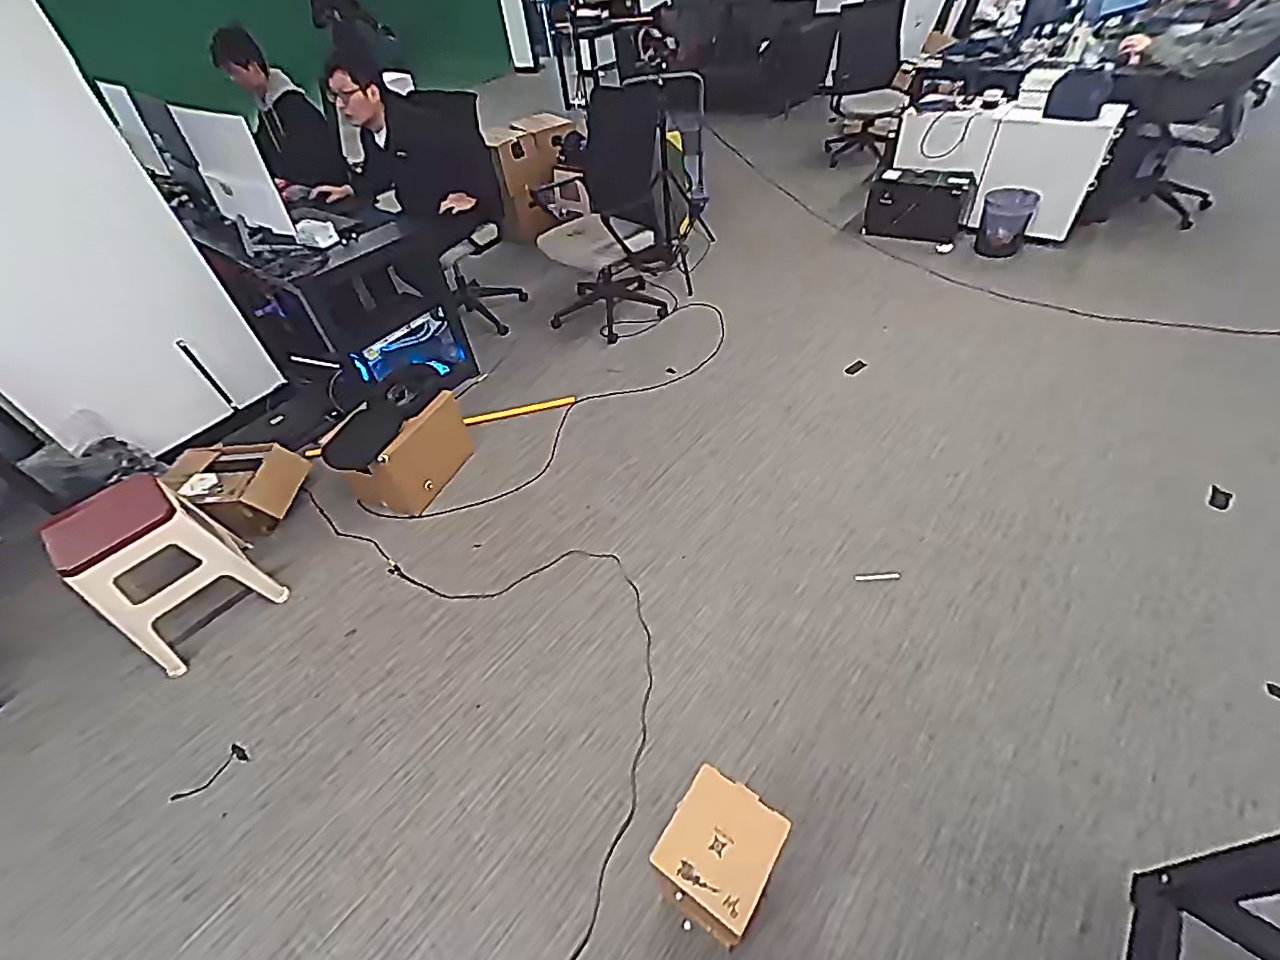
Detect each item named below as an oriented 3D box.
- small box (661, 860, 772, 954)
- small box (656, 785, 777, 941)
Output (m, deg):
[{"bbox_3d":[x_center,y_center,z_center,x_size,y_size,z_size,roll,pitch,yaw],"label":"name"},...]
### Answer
[{"bbox_3d":[0.161,0.856,1.151,0.168,0.176,0.179,24,54,28],"label":"small box"},{"bbox_3d":[0.148,0.738,1.040,0.168,0.176,0.179,22,51,25],"label":"small box"}]
